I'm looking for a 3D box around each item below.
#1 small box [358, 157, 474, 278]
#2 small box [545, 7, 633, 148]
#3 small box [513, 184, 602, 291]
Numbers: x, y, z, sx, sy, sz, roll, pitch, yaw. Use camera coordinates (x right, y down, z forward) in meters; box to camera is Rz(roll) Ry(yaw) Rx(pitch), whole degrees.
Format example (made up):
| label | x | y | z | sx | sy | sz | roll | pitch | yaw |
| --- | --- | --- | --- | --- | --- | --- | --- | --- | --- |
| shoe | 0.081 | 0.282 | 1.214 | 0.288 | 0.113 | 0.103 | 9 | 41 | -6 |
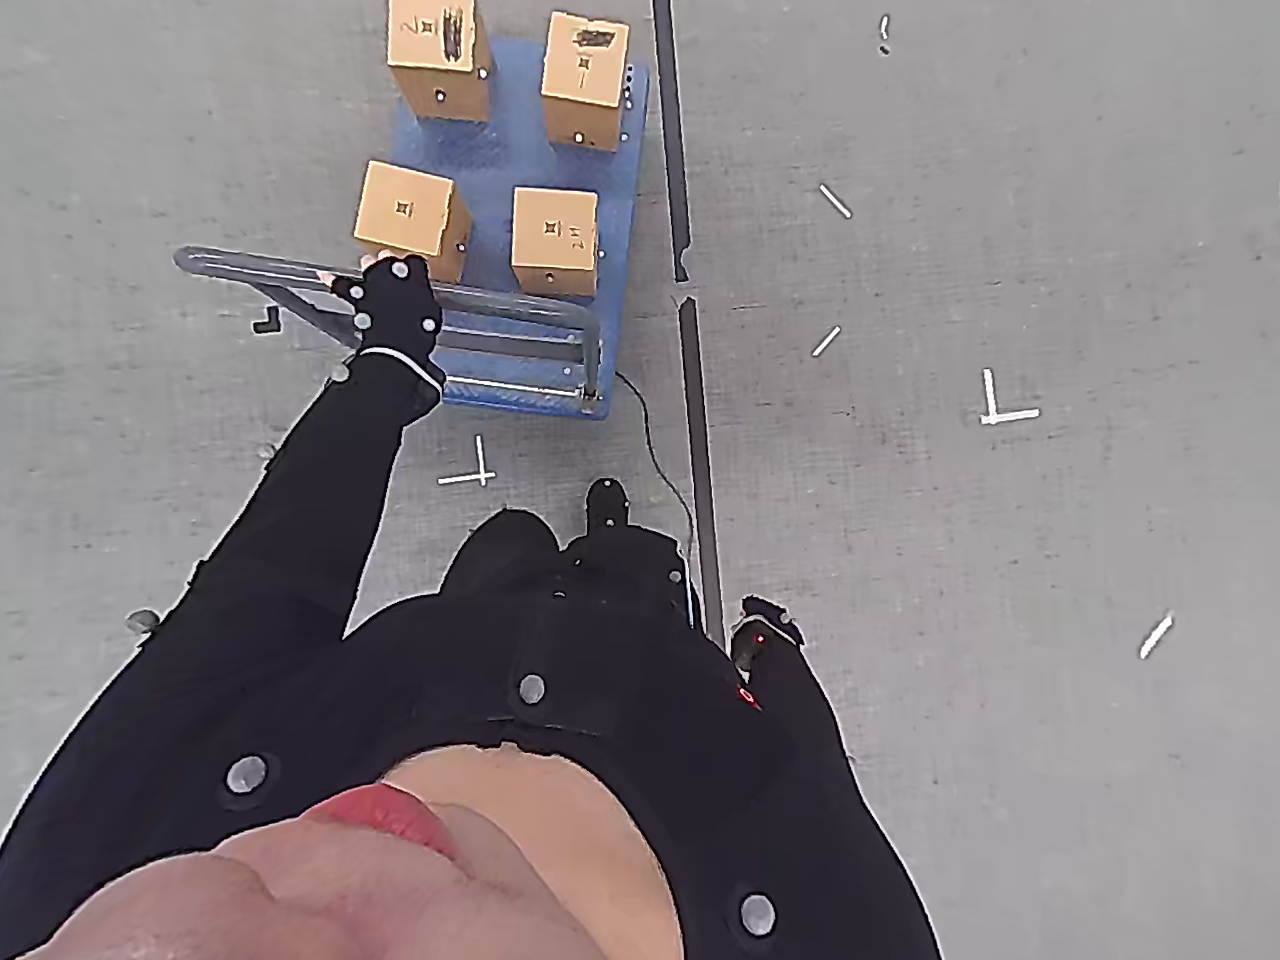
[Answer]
| label | x | y | z | sx | sy | sz | roll | pitch | yaw |
| --- | --- | --- | --- | --- | --- | --- | --- | --- | --- |
| small box | -0.485 | -0.567 | 1.193 | 0.179 | 0.176 | 0.168 | 11 | 90 | -5 |
| small box | -0.112 | -0.889 | 1.209 | 0.168 | 0.176 | 0.179 | 8 | 92 | -3 |
| small box | -0.178 | -0.535 | 1.213 | 0.179 | 0.176 | 0.168 | 3 | 92 | -3 |
